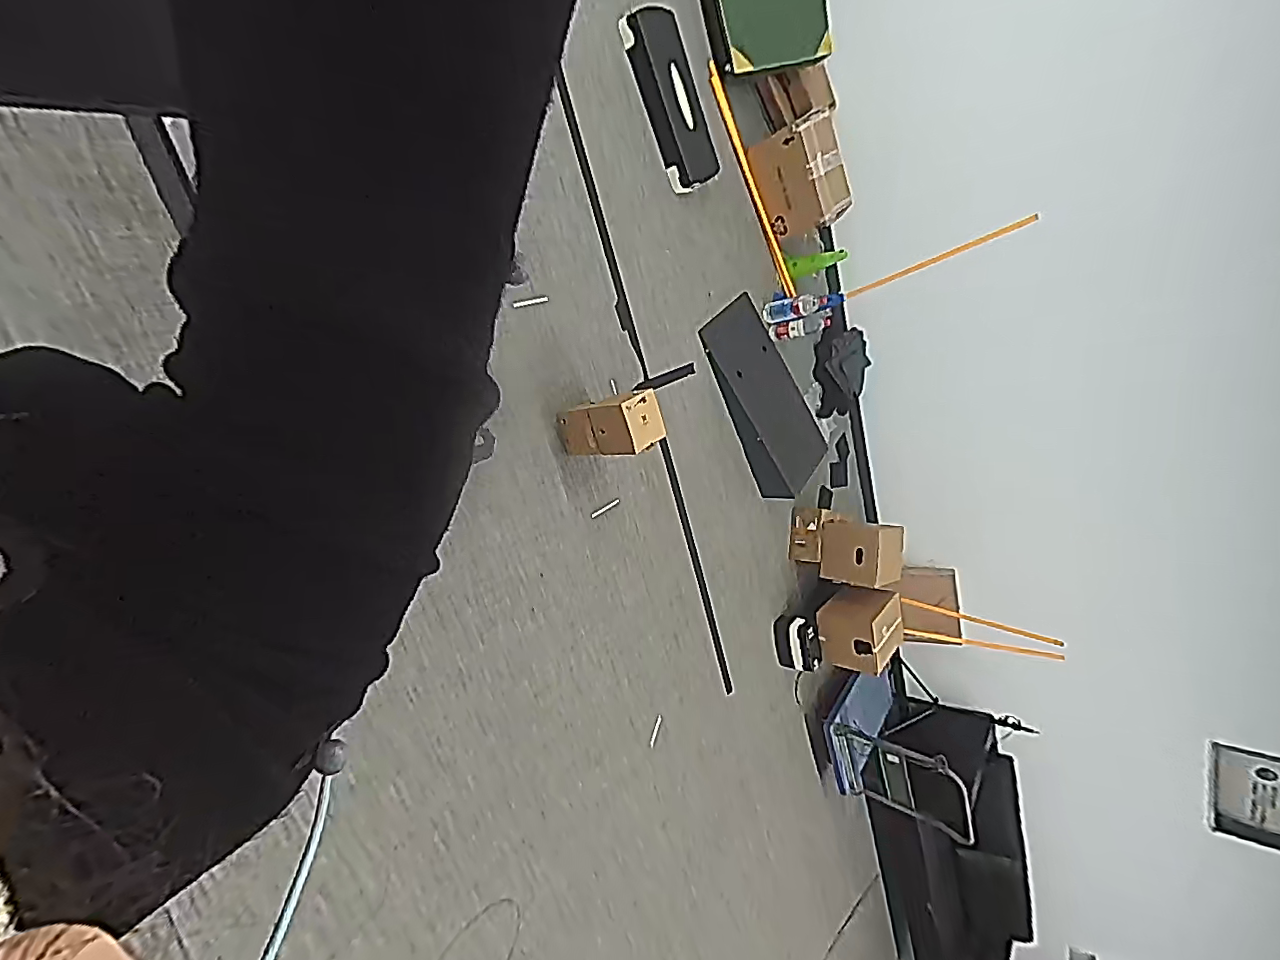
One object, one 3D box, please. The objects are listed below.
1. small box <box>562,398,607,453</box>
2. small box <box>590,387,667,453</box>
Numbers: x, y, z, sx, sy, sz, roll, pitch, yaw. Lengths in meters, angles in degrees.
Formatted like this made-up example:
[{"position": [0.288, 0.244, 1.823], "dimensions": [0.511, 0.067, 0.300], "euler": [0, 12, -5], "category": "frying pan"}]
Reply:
[{"position": [-0.160, -0.197, 1.943], "dimensions": [0.179, 0.176, 0.168], "euler": [-29, 111, -43], "category": "small box"}, {"position": [-0.041, -0.203, 1.829], "dimensions": [0.168, 0.176, 0.179], "euler": [-34, 115, -41], "category": "small box"}]
